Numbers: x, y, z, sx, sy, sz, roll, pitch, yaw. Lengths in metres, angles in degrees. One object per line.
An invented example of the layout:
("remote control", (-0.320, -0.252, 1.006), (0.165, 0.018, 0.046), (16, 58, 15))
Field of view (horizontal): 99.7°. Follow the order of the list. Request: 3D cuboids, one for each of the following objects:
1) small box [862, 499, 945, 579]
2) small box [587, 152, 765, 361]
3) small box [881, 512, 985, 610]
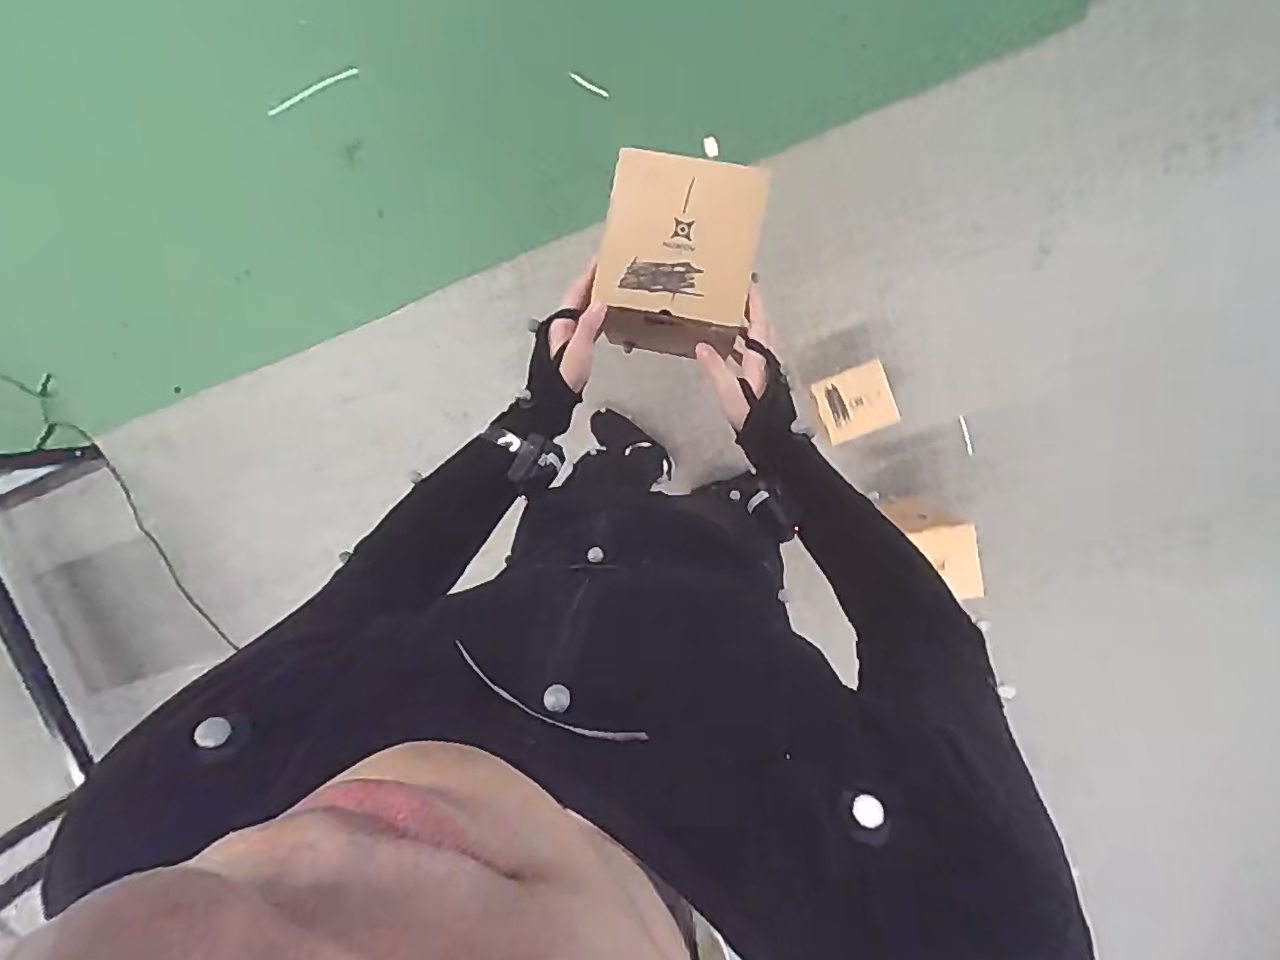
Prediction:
("small box", (0.711, 0.155, 1.460), (0.179, 0.176, 0.168), (-9, 99, 11))
("small box", (0.044, -0.255, 0.658), (0.168, 0.176, 0.179), (11, 90, 4))
("small box", (0.696, 0.189, 1.301), (0.168, 0.176, 0.179), (-11, 97, 10))
